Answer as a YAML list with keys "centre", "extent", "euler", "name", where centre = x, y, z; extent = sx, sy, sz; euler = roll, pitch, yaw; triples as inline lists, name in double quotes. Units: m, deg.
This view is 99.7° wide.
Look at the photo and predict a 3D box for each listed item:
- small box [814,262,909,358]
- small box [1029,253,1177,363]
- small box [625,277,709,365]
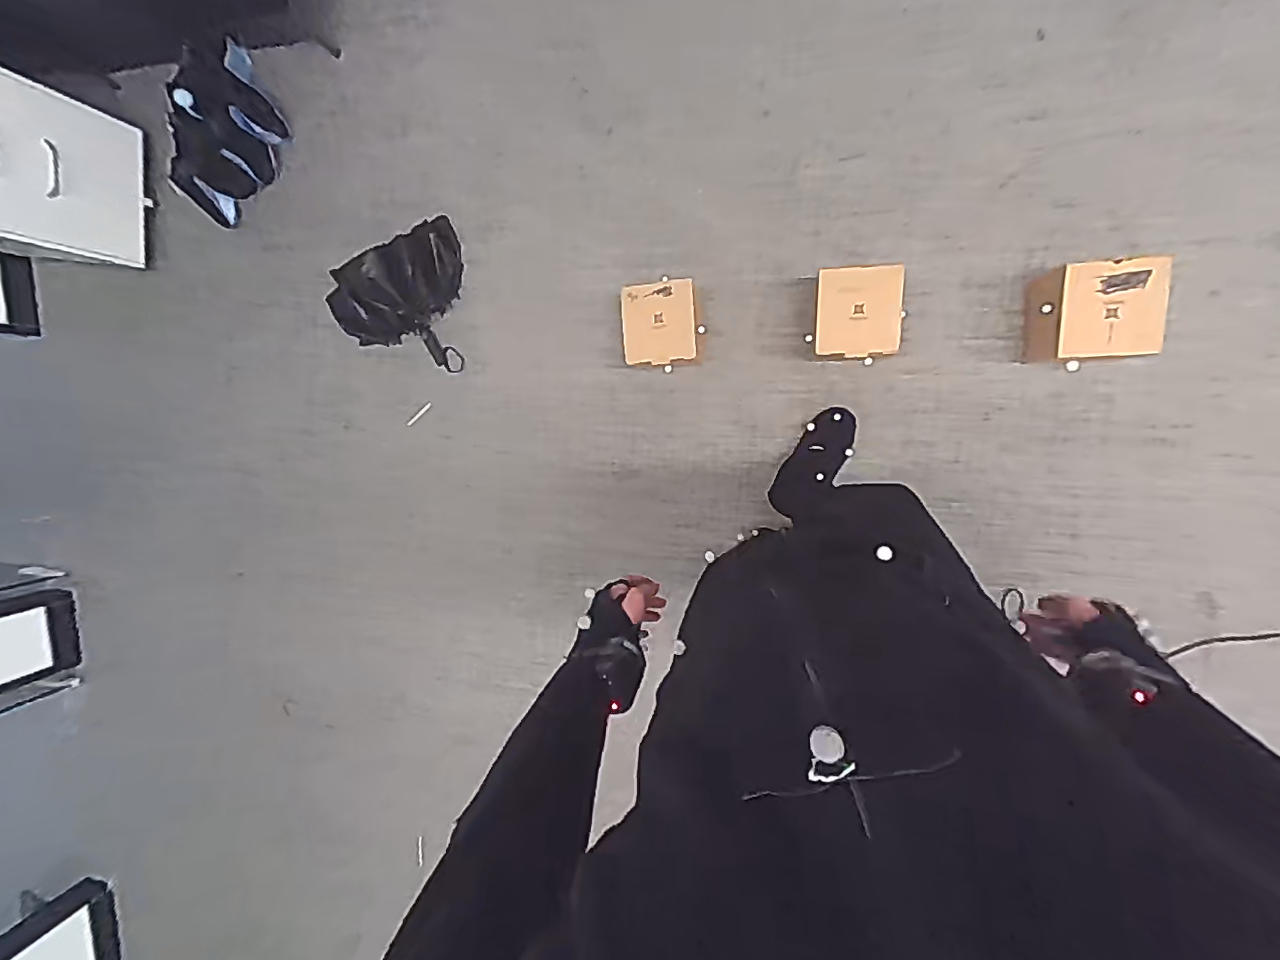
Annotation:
- centre: [0.473, -0.360, 1.178]
  extent: [0.168, 0.176, 0.179]
  euler: [1, 97, 13]
  name: "small box"
- centre: [0.899, -0.330, 1.068]
  extent: [0.168, 0.176, 0.179]
  euler: [1, 98, 15]
  name: "small box"
- centre: [0.070, -0.366, 1.280]
  extent: [0.168, 0.176, 0.179]
  euler: [-2, 98, 15]
  name: "small box"
